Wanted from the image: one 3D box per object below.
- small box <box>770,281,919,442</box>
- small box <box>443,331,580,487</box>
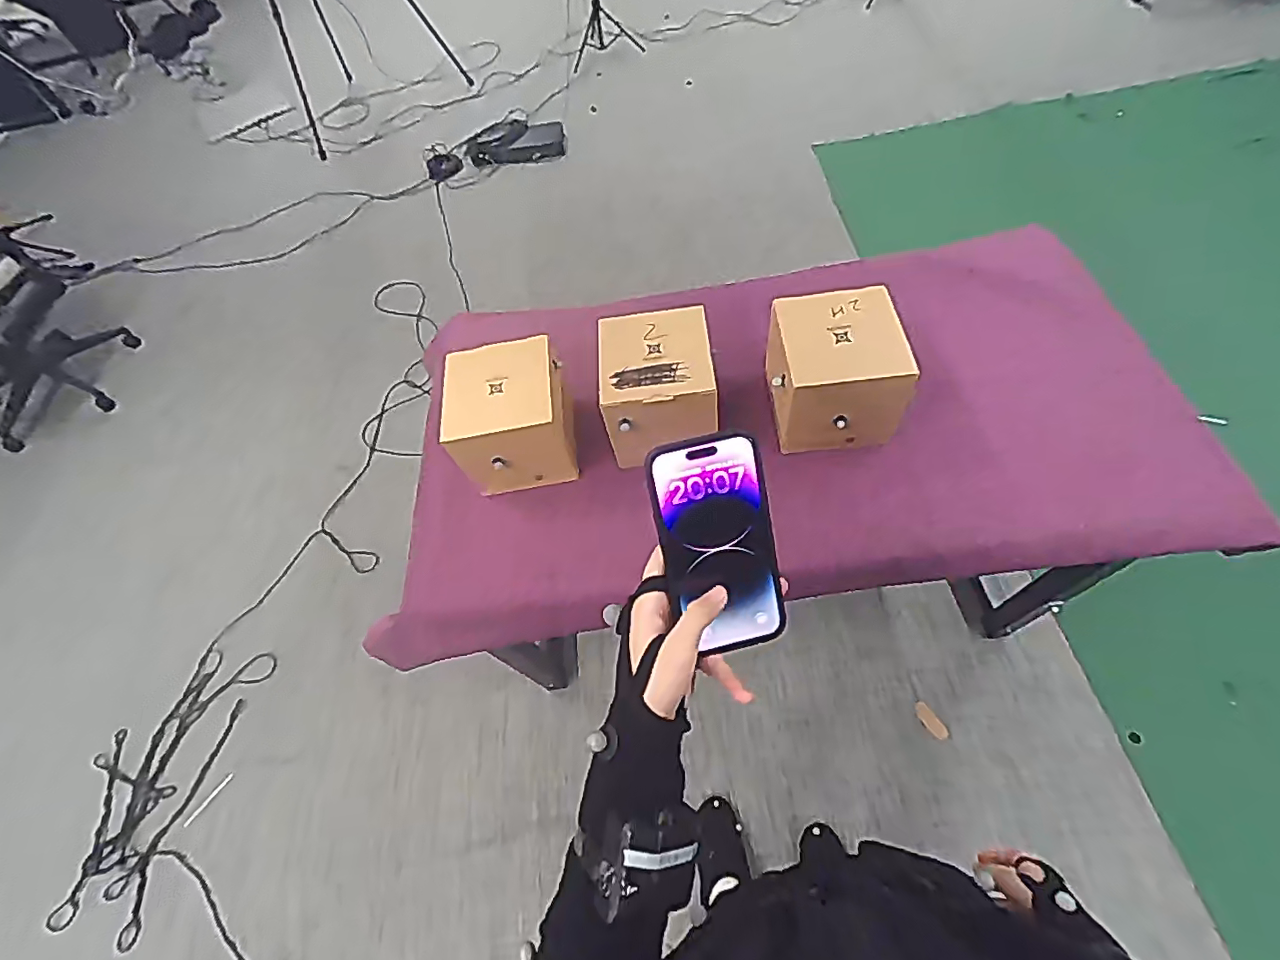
[{"bbox_3d":[0.297,-0.171,0.826,0.168,0.176,0.179,-5,59,5],"label":"small box"},{"bbox_3d":[-0.197,-0.103,0.868,0.168,0.176,0.179,-11,58,3],"label":"small box"}]
